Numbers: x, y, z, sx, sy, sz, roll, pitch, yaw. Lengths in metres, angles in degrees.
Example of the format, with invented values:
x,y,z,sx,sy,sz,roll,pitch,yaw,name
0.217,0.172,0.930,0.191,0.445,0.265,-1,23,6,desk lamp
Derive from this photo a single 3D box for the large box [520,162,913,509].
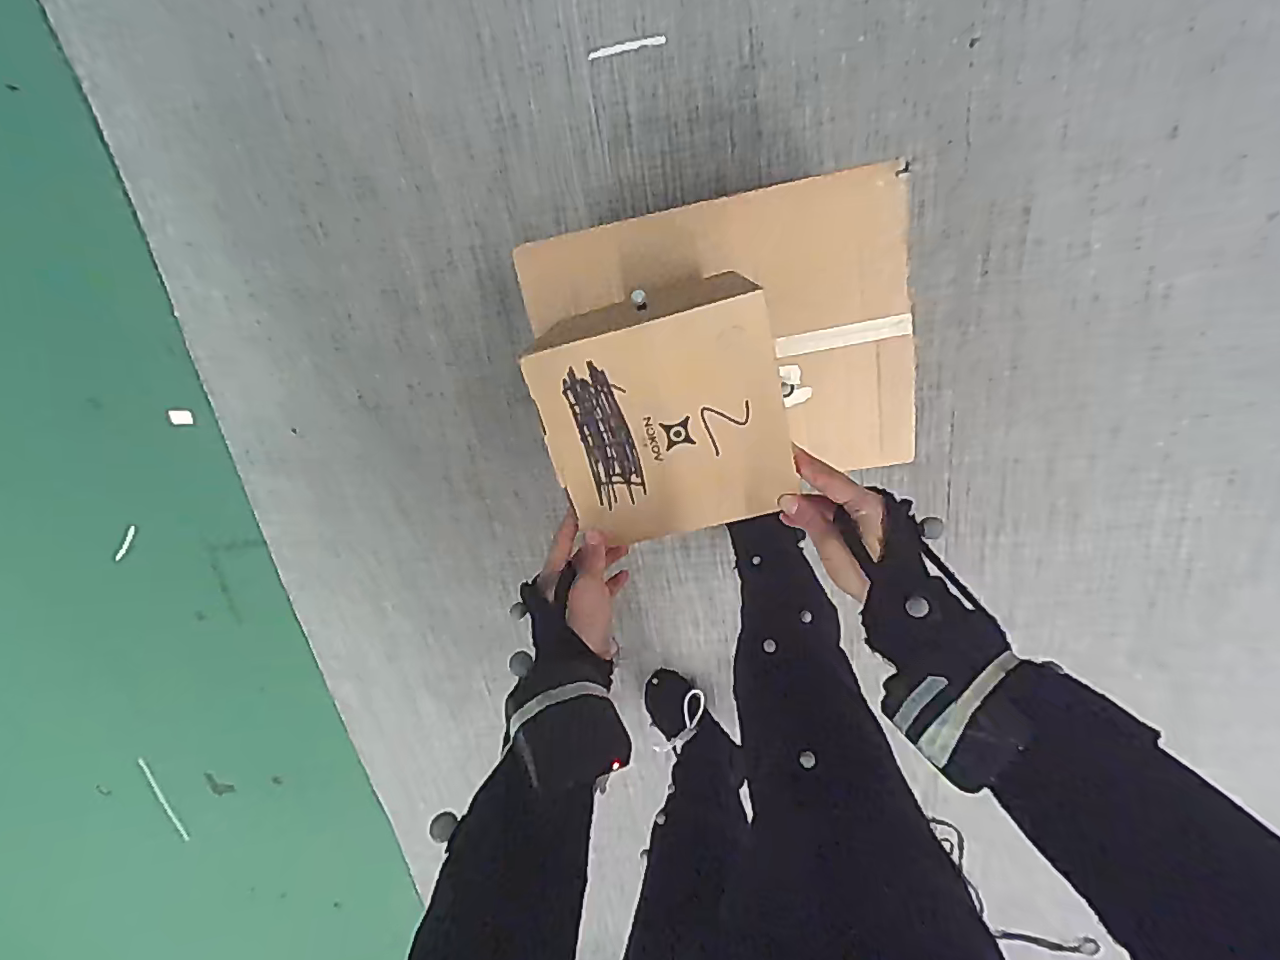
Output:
x,y,z,sx,sy,sz,roll,pitch,yaw,name
0.103,-0.185,0.743,0.408,0.320,0.320,-9,109,9,large box
